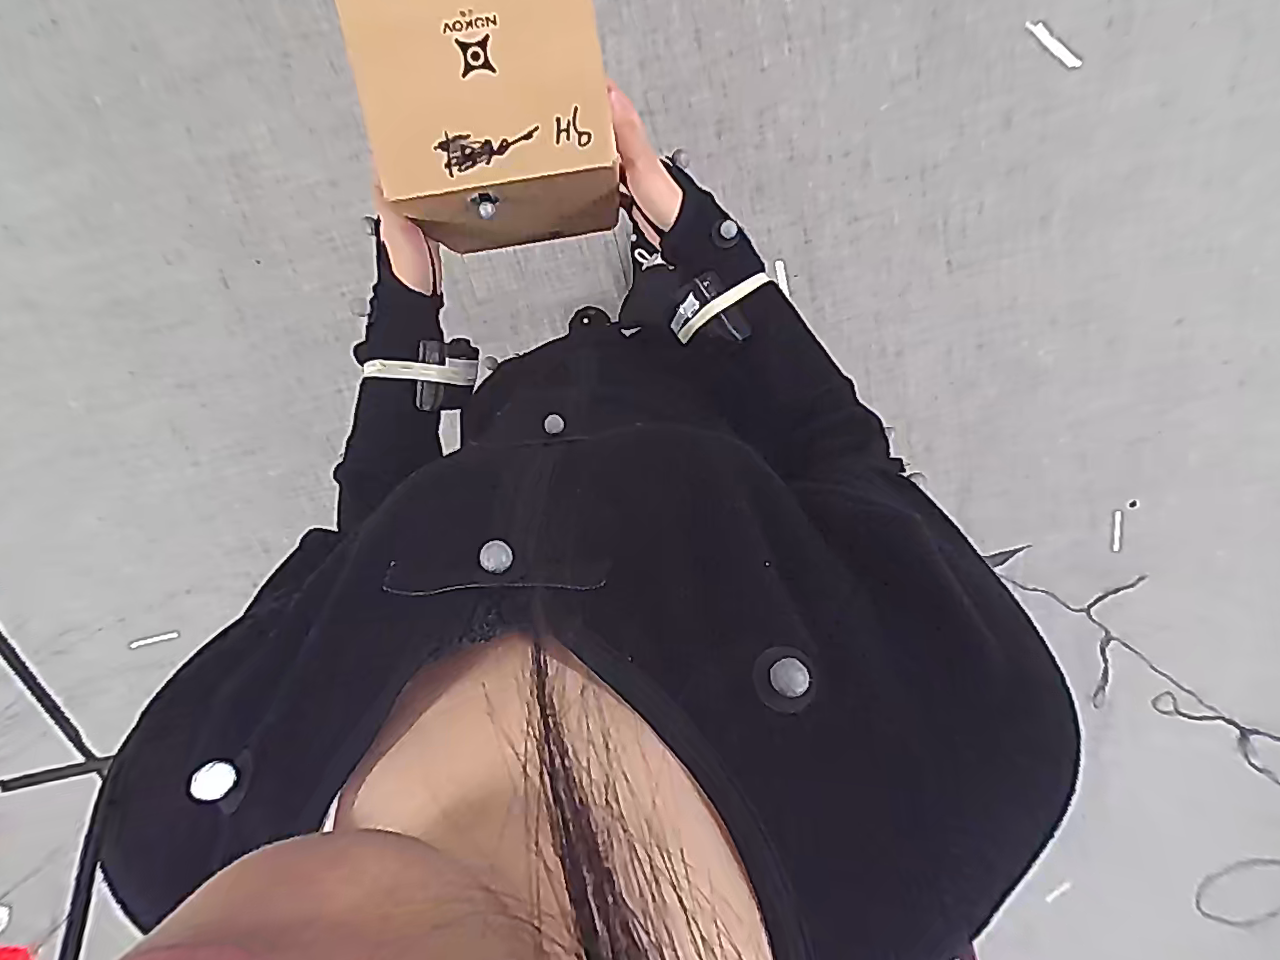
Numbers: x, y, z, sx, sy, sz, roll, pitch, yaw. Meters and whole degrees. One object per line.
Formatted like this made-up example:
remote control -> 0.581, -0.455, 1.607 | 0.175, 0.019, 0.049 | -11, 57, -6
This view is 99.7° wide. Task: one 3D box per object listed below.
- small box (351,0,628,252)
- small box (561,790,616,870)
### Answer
small box -> -0.106, -0.303, 0.433 | 0.168, 0.176, 0.179 | -9, 101, -1
small box -> -0.175, 1.188, 1.844 | 0.179, 0.176, 0.168 | 1, 108, -5
